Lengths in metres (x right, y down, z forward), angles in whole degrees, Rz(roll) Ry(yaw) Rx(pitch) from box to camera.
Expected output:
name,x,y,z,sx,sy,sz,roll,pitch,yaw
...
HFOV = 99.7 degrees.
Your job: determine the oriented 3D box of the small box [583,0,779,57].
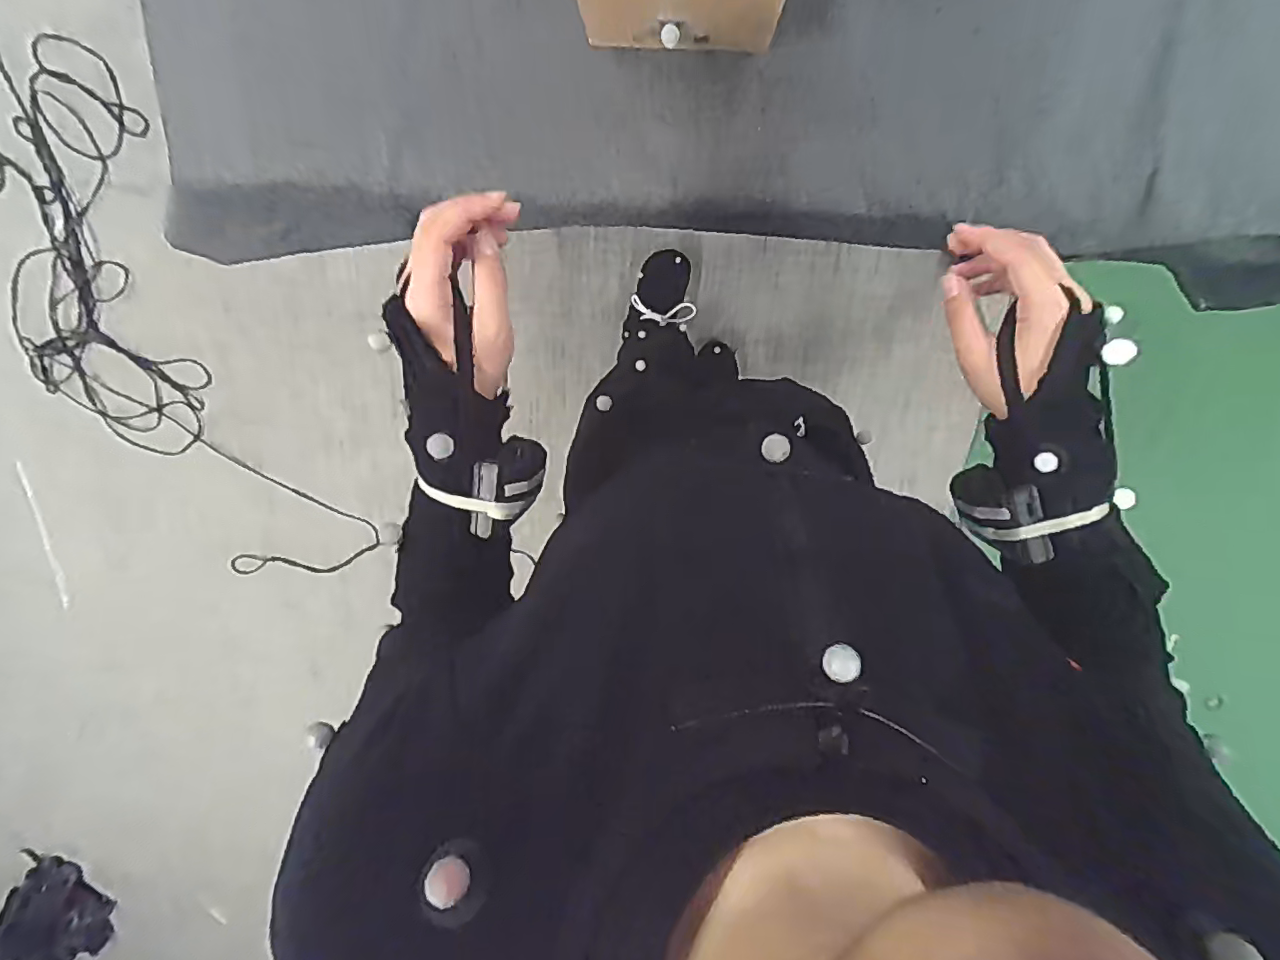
name,x,y,z,sx,sy,sz,roll,pitch,yaw
small box,0.034,-0.460,0.403,0.168,0.176,0.179,4,108,2
